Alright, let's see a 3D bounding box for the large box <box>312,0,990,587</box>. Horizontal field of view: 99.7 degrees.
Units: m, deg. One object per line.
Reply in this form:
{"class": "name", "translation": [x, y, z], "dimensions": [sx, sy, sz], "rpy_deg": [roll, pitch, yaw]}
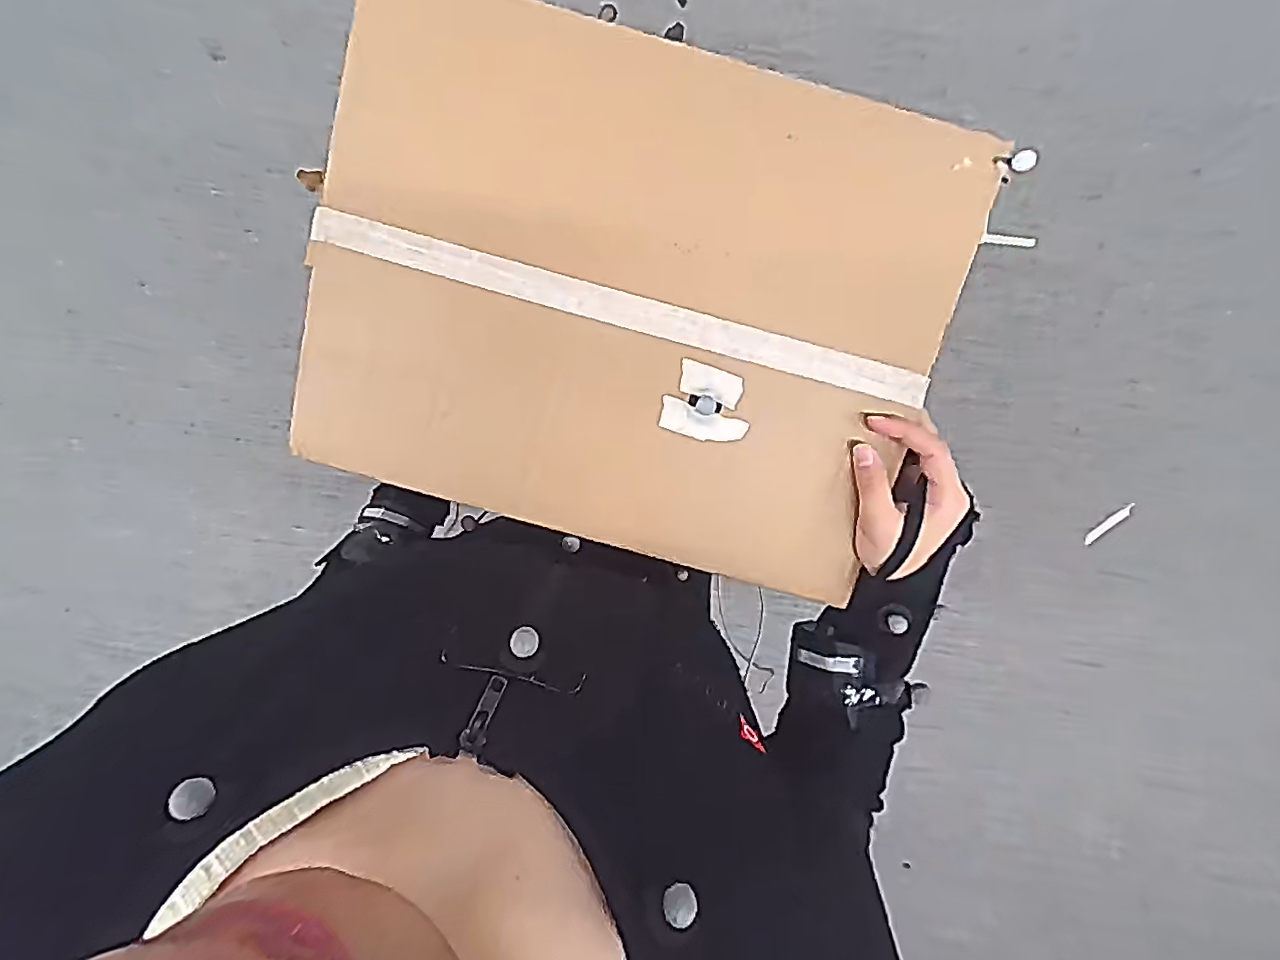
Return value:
{"class": "large box", "translation": [-0.005, -0.137, 0.507], "dimensions": [0.408, 0.320, 0.320], "rpy_deg": [15, 101, -2]}
